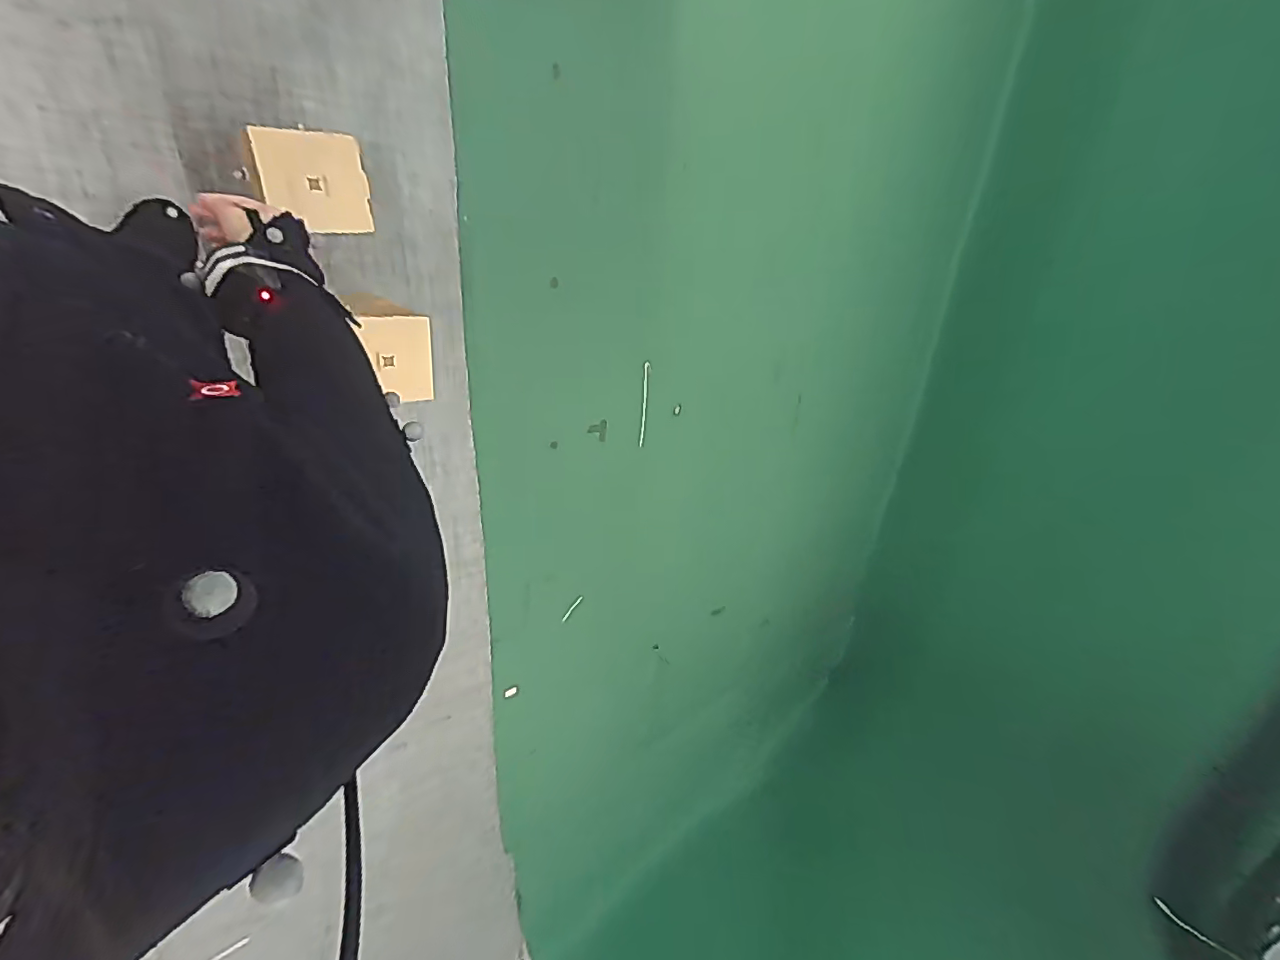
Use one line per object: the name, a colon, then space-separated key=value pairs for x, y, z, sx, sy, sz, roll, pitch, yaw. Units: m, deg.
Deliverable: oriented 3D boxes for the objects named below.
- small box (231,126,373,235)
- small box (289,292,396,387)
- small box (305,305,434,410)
small box: x=-0.637 y=-0.559 z=1.024 sx=0.179 sy=0.176 sz=0.168 roll=-20 pitch=123 yaw=-36
small box: x=-0.633 y=-0.306 z=1.161 sx=0.179 sy=0.176 sz=0.168 roll=-16 pitch=122 yaw=-38
small box: x=-0.524 y=-0.247 z=1.055 sx=0.179 sy=0.176 sz=0.168 roll=-15 pitch=121 yaw=-39
